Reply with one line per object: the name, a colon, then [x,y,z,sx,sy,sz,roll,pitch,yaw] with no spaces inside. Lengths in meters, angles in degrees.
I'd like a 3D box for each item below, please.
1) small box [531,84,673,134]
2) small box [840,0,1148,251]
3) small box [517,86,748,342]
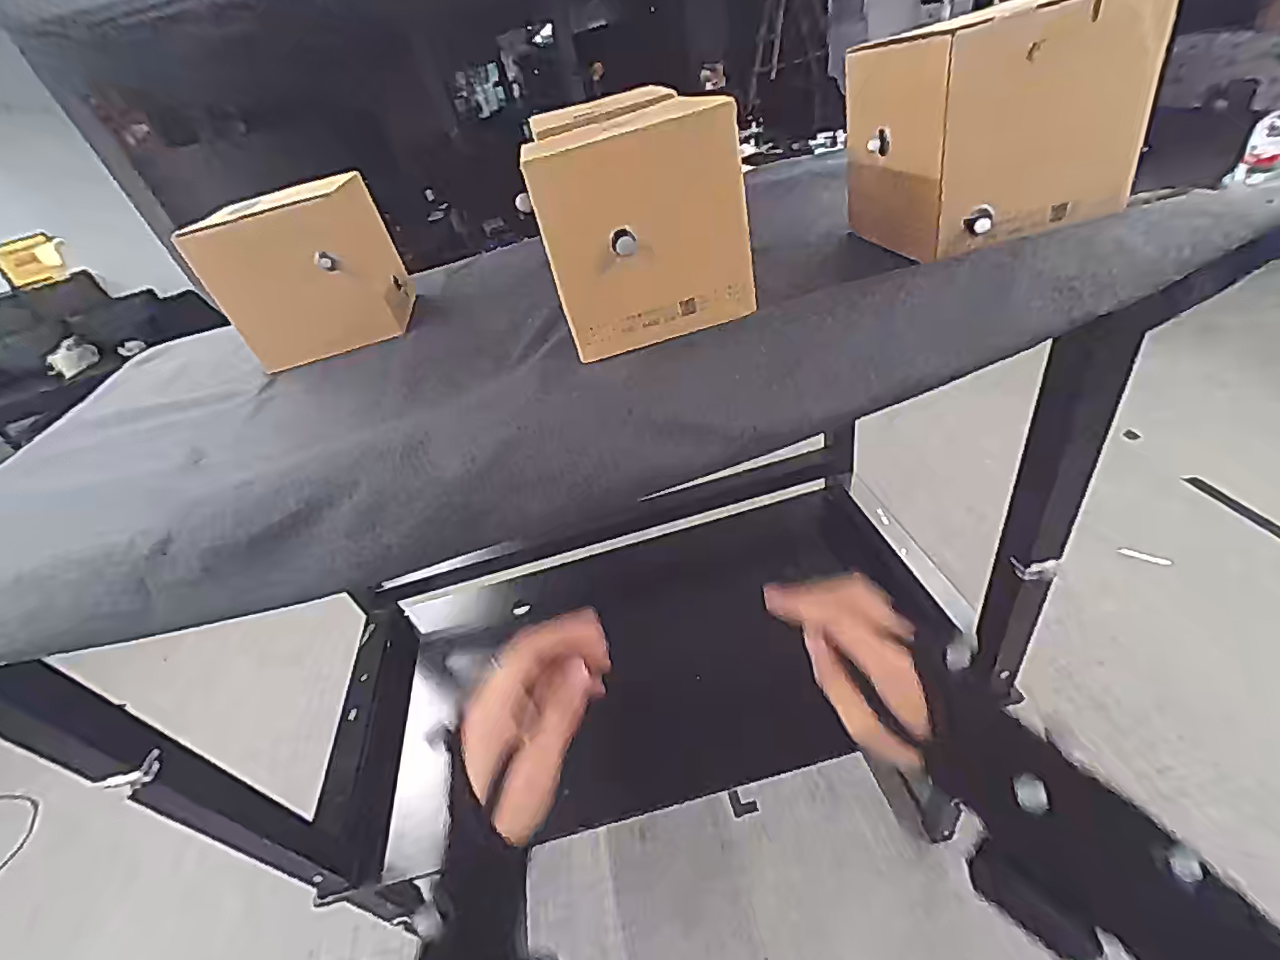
small box: [-0.039,-0.398,0.713,0.168,0.176,0.179,-17,37,-1]
small box: [0.299,-0.324,0.490,0.168,0.176,0.179,-15,34,2]
small box: [-0.007,-0.246,0.511,0.168,0.176,0.179,-17,35,-1]
